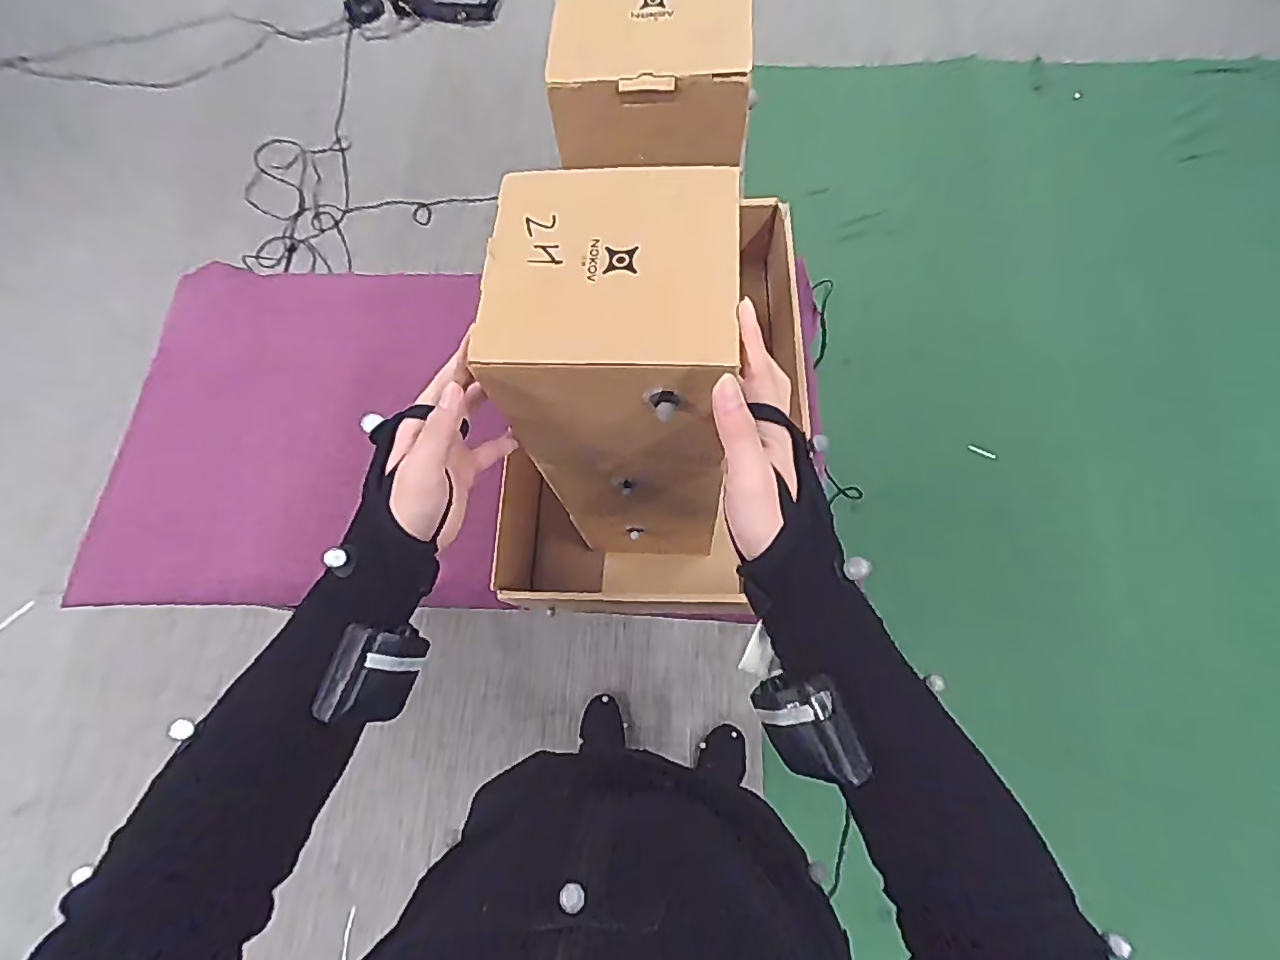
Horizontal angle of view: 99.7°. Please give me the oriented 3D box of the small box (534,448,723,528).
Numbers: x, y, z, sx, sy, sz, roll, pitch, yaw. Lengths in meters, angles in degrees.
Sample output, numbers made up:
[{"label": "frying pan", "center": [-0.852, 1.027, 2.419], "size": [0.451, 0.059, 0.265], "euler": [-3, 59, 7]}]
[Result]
[{"label": "small box", "center": [0.001, -0.050, 0.591], "size": [0.179, 0.176, 0.168], "euler": [3, 69, 6]}]

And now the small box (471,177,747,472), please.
[{"label": "small box", "center": [-0.011, -0.113, 0.440], "size": [0.179, 0.176, 0.168], "euler": [2, 69, 6]}]

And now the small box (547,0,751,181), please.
[{"label": "small box", "center": [0.016, -0.356, 0.530], "size": [0.168, 0.176, 0.179], "euler": [3, 71, 4]}]
